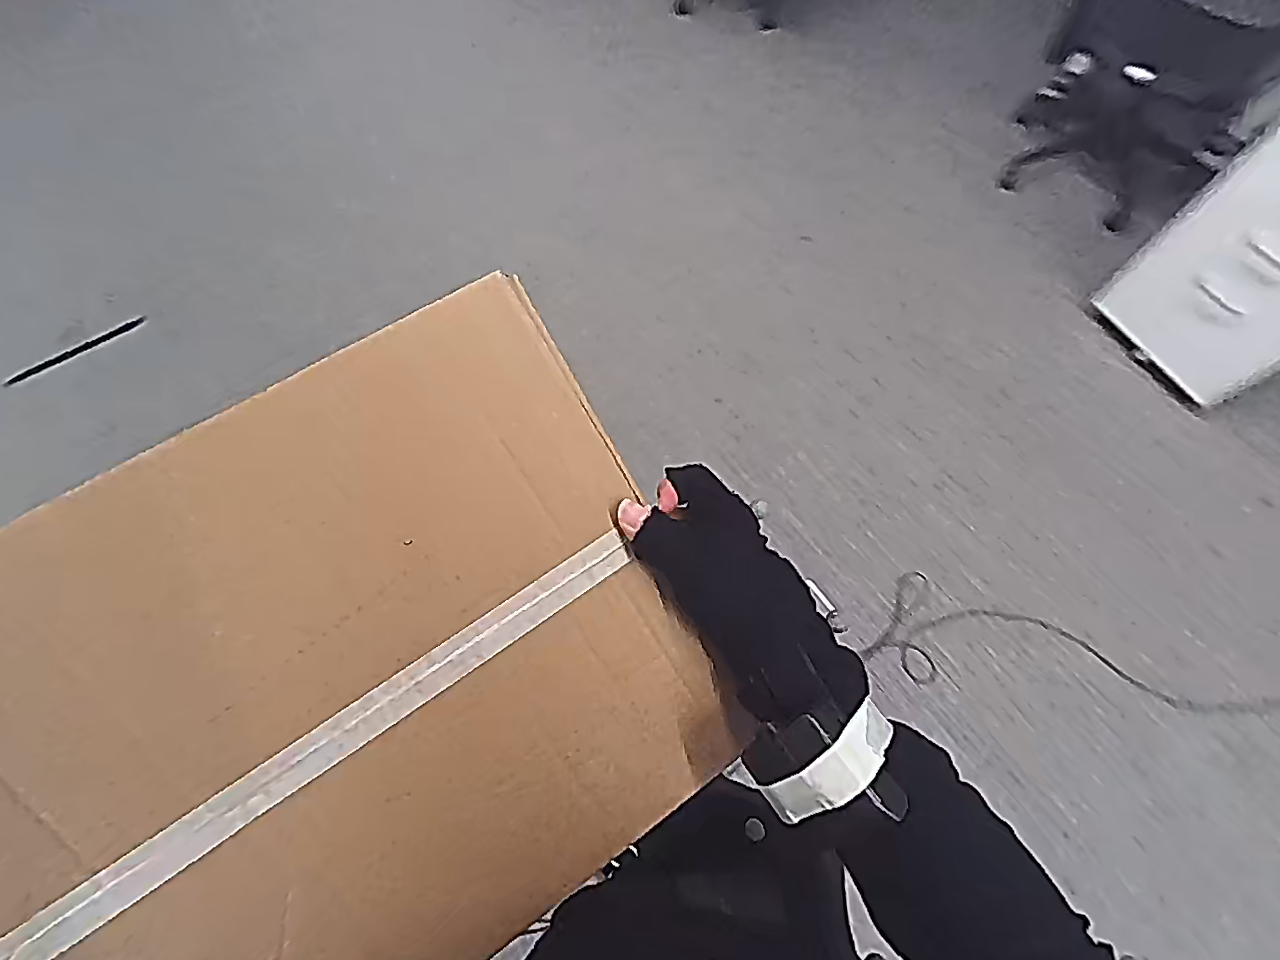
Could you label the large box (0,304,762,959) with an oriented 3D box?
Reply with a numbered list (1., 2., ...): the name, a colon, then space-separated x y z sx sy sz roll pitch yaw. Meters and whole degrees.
1. large box: -0.193 0.121 0.425 0.408 0.320 0.320 -32 102 -11
